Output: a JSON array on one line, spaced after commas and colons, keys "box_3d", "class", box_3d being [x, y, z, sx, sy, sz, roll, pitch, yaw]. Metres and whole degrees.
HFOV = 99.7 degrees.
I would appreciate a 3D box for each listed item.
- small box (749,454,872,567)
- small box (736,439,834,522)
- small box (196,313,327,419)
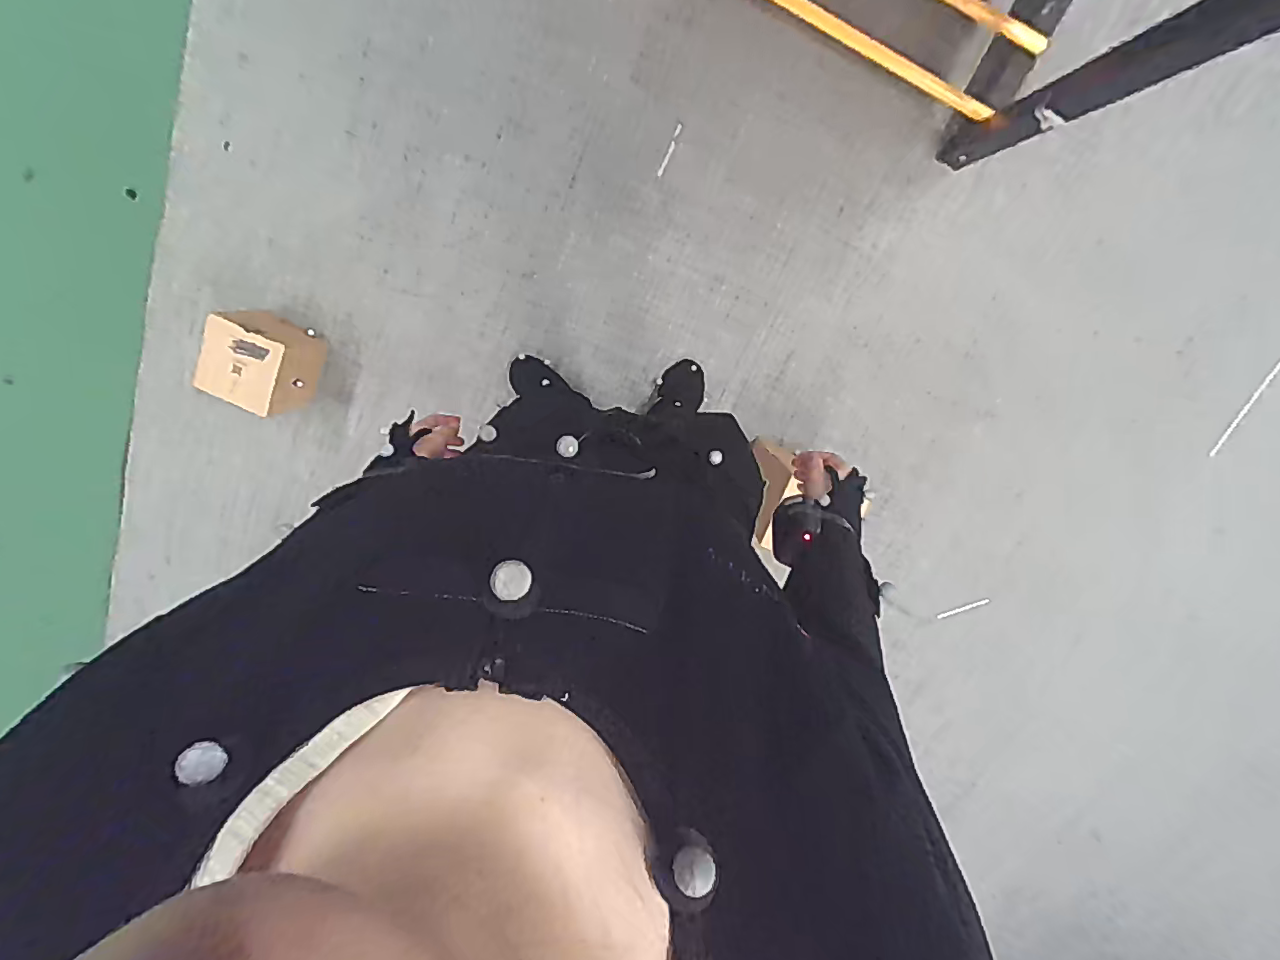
[{"box_3d": [0.353, 0.058, 1.157, 0.179, 0.176, 0.168, 18, 106, -4], "class": "small box"}, {"box_3d": [0.345, 0.015, 1.314, 0.168, 0.176, 0.179, 18, 107, -5], "class": "small box"}, {"box_3d": [-0.852, -0.267, 1.234, 0.168, 0.176, 0.179, 25, 108, -7], "class": "small box"}]
